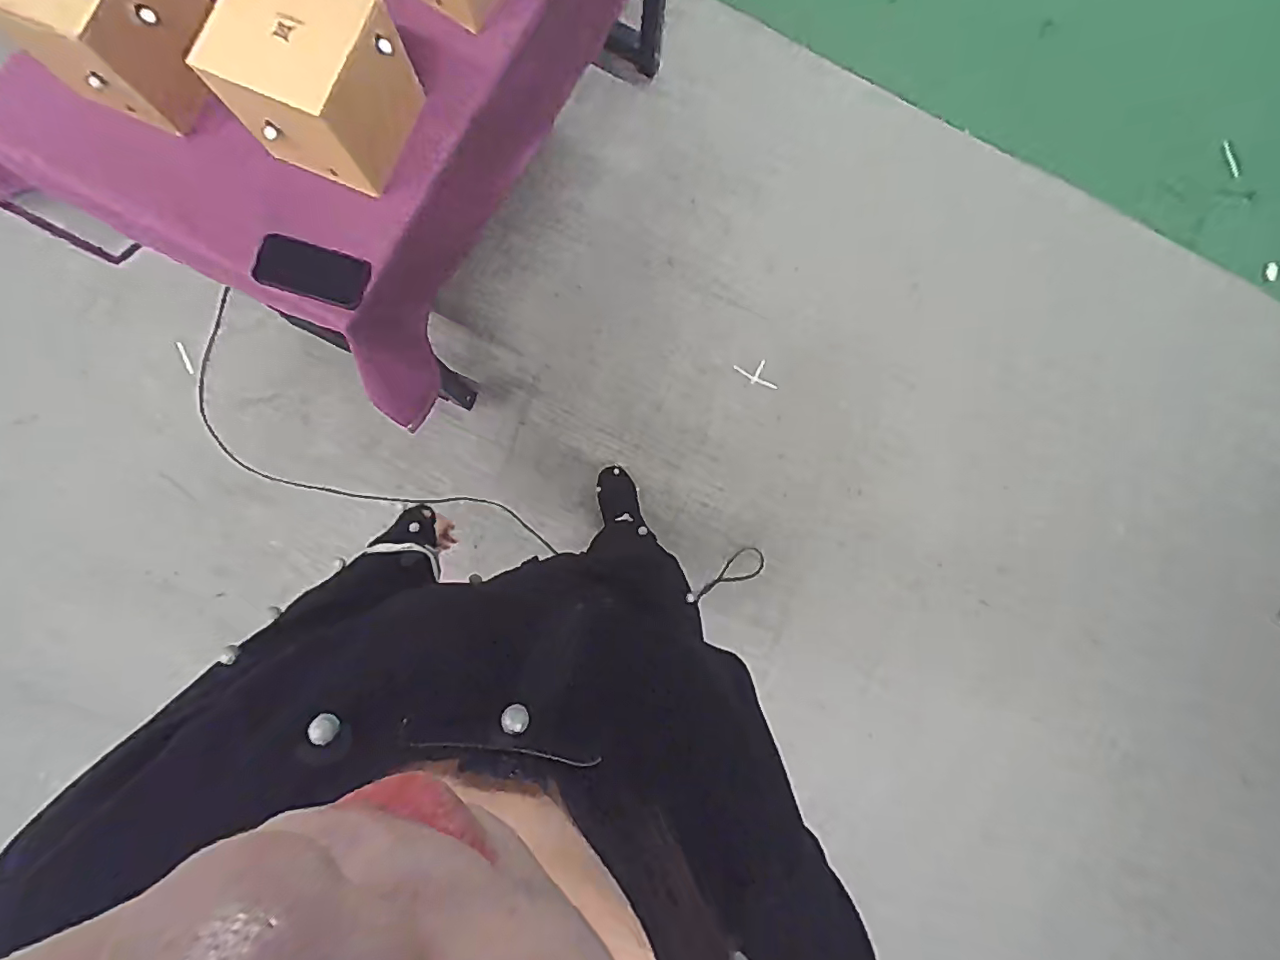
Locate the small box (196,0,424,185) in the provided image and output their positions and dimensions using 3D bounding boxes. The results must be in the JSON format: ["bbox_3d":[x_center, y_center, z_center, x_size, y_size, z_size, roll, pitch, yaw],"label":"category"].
[{"bbox_3d":[-0.411,-0.534,0.710,0.168,0.176,0.179,22,84,-2],"label":"small box"}]

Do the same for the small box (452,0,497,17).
[{"bbox_3d":[-0.253,-0.803,0.736,0.168,0.176,0.179,34,84,-1],"label":"small box"}]
